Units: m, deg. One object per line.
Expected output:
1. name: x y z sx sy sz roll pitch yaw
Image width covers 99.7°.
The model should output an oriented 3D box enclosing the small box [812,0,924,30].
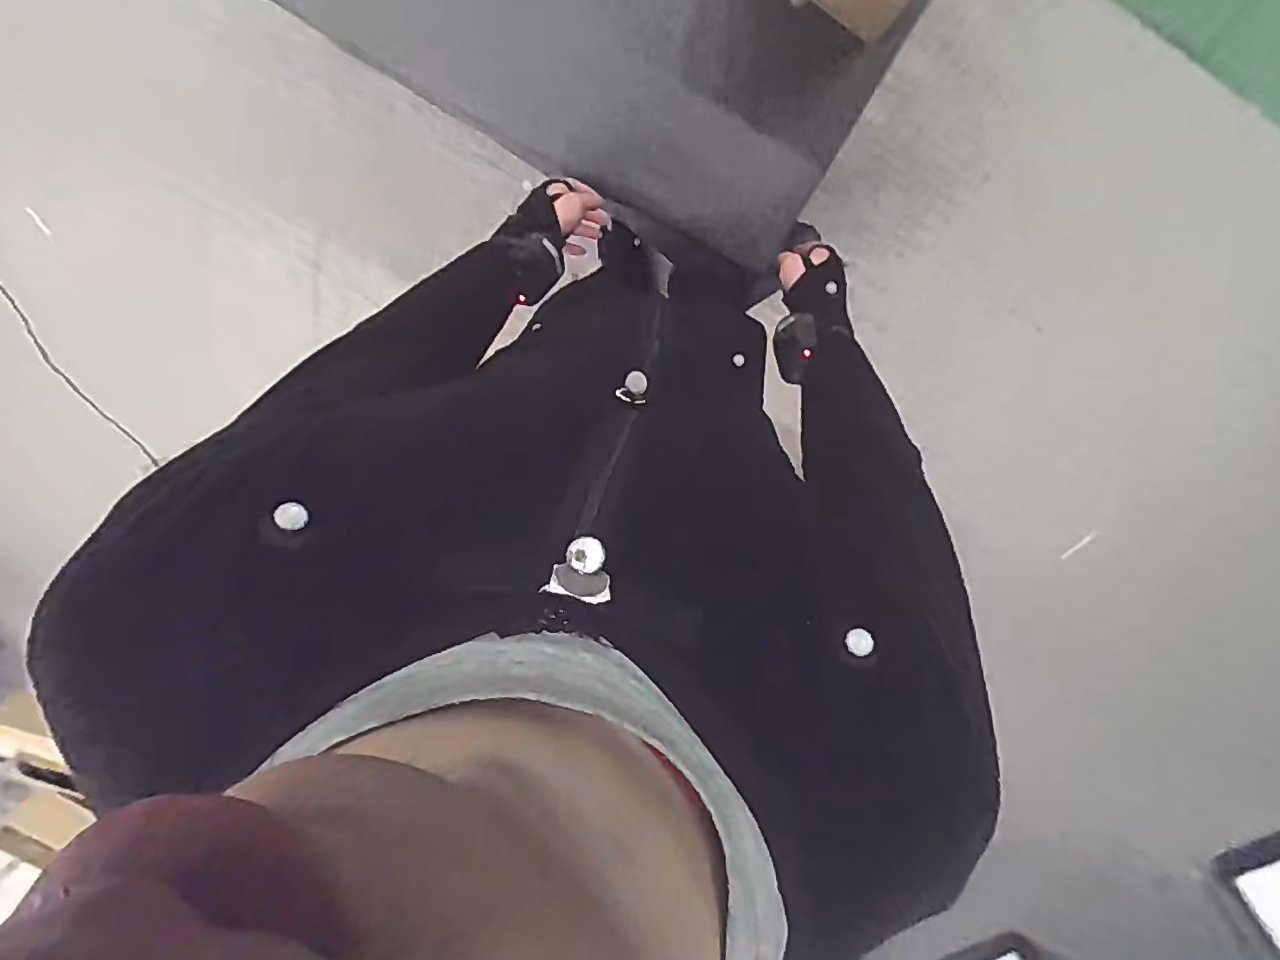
1. small box: 0.196 -0.508 0.434 0.179 0.176 0.168 30 119 -8
